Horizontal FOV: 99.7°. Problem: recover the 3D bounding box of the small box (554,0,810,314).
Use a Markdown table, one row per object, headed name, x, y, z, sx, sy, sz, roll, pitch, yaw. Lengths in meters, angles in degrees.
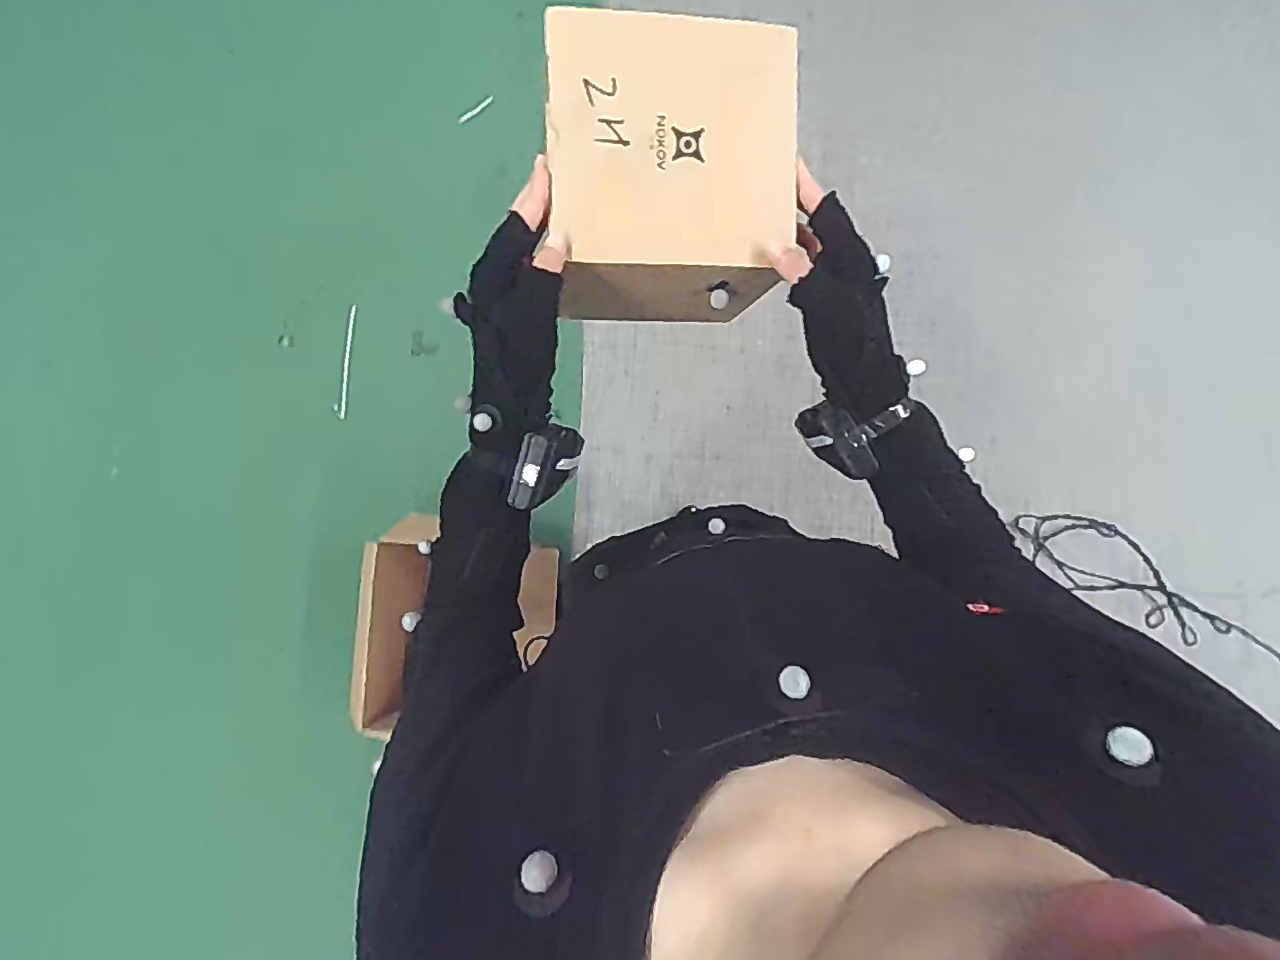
| name | x | y | z | sx | sy | sz | roll | pitch | yaw |
| --- | --- | --- | --- | --- | --- | --- | --- | --- | --- |
| small box | 0.020 | -0.239 | 0.443 | 0.179 | 0.176 | 0.168 | 0 | 94 | -6 |
